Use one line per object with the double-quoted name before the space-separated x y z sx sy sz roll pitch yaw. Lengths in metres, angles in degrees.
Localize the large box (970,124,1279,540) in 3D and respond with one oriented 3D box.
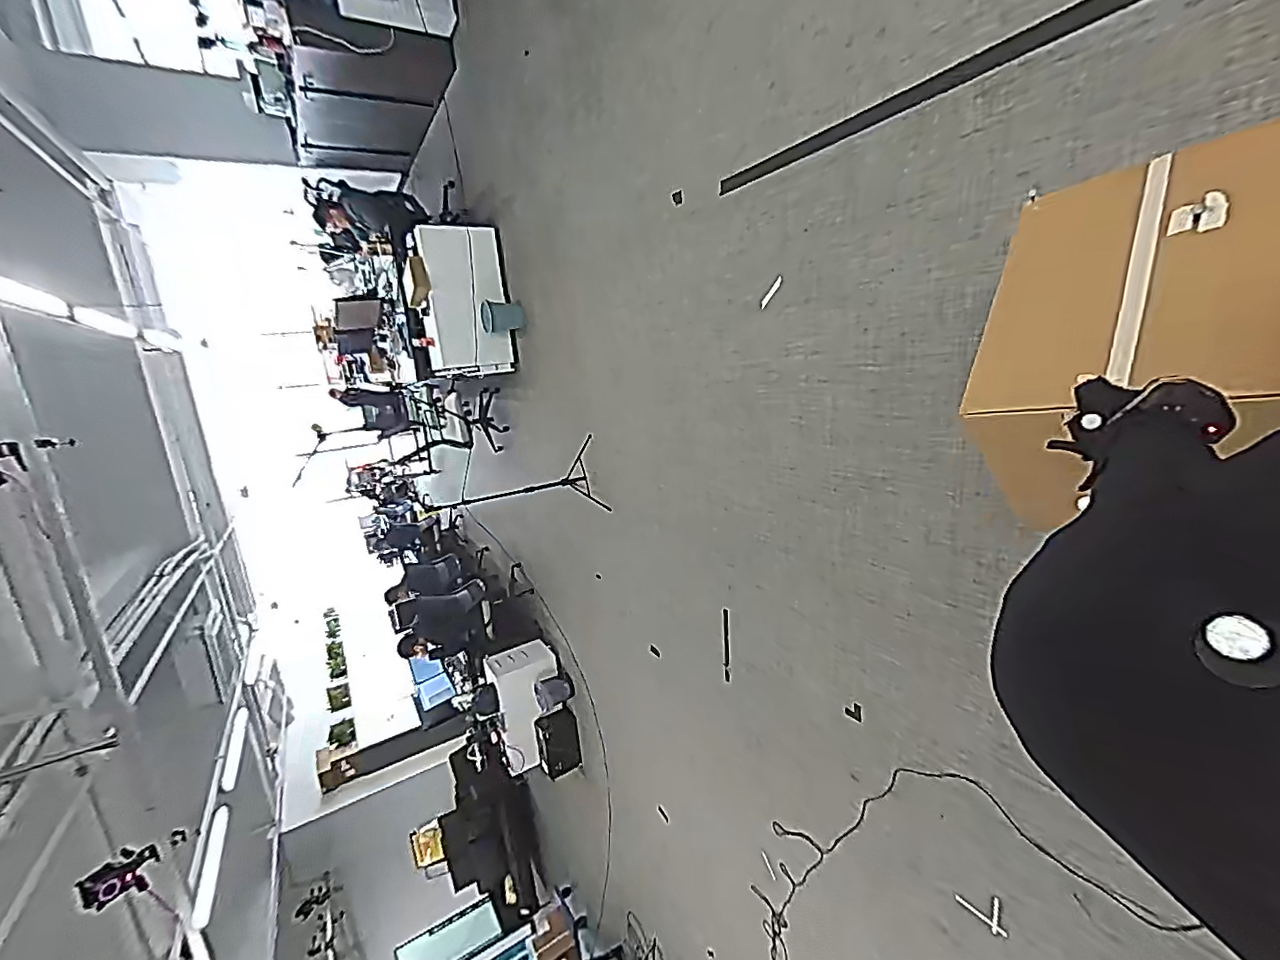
"large box" 0.706 -0.170 0.728 0.320 0.320 0.408 4 61 52
